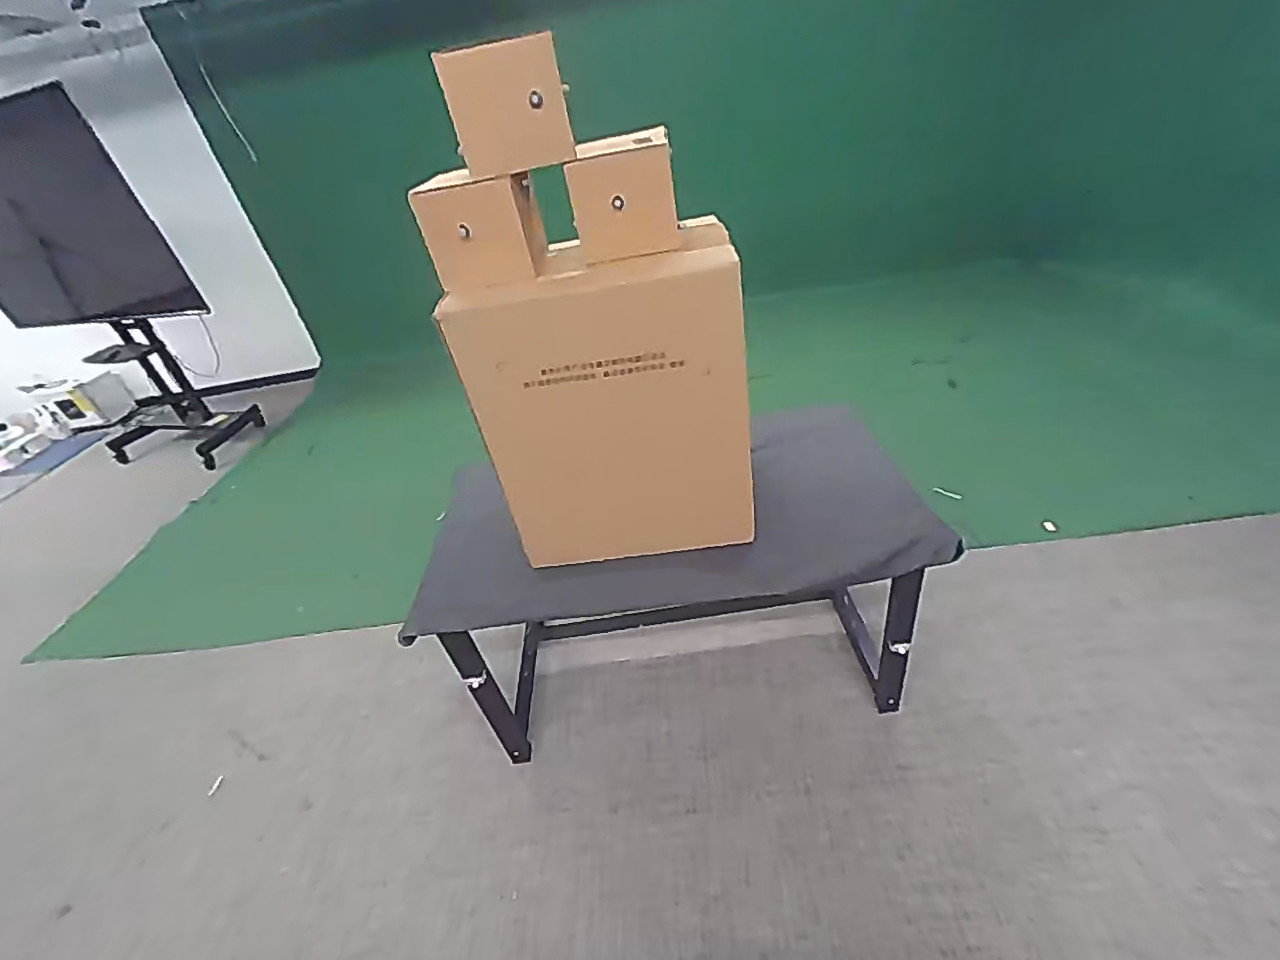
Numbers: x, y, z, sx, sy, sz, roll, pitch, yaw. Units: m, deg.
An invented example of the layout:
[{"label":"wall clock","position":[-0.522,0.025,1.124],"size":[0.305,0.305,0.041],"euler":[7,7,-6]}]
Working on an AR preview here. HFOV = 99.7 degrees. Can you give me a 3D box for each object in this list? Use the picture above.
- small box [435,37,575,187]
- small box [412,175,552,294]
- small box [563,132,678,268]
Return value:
[{"label":"small box","position":[-0.208,-0.599,0.886],"size":[0.179,0.176,0.168],"euler":[-14,37,-1]},{"label":"small box","position":[-0.278,-0.456,0.992],"size":[0.179,0.176,0.168],"euler":[-7,39,7]},{"label":"small box","position":[-0.025,-0.506,0.982],"size":[0.179,0.176,0.168],"euler":[-8,39,8]}]
